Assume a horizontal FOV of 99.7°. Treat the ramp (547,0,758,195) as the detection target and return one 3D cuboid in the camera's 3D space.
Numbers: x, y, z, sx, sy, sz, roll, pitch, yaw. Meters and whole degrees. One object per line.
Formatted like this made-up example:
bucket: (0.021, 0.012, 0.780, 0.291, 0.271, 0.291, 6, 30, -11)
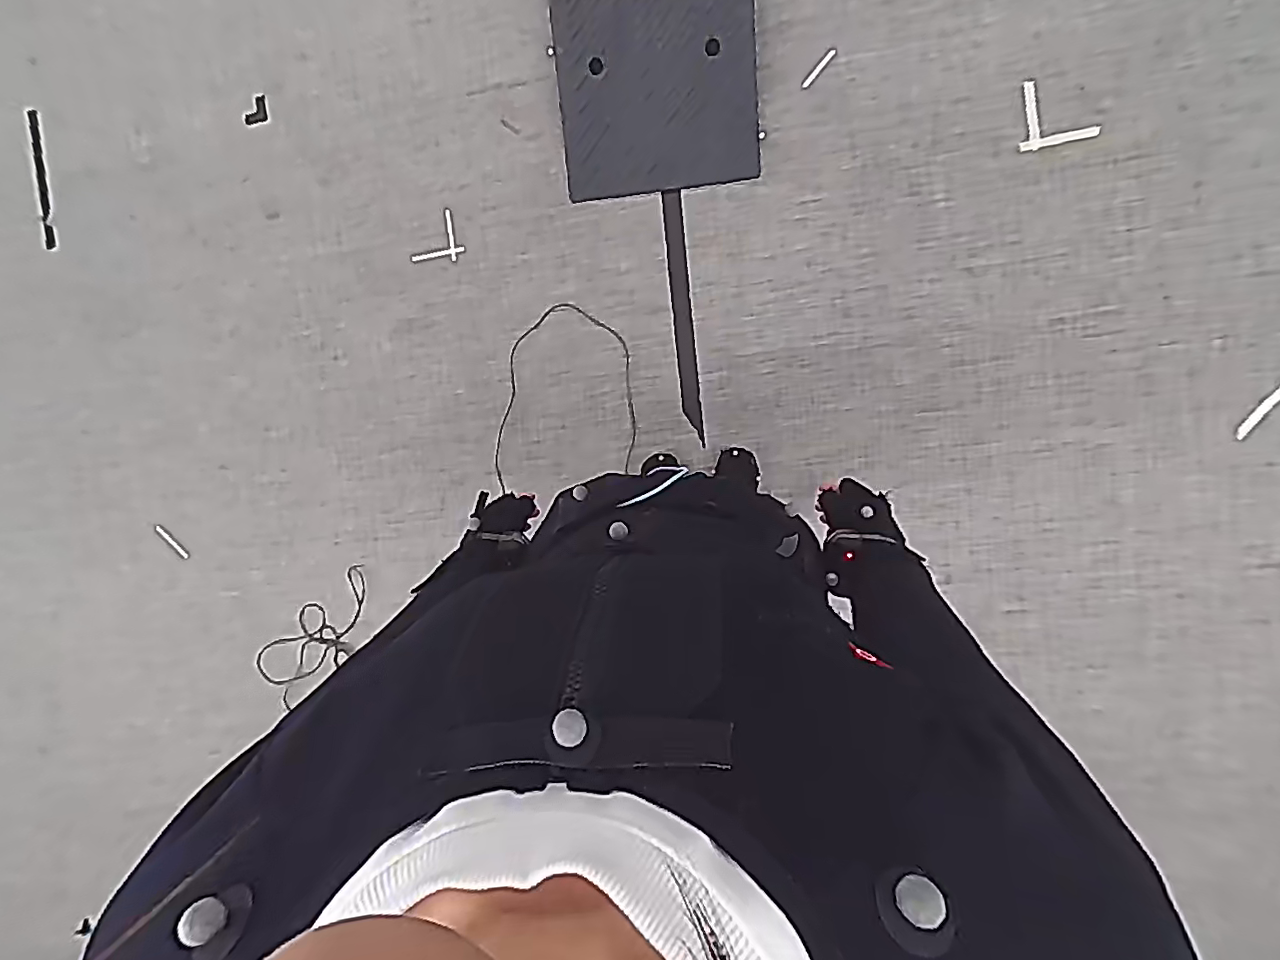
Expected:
ramp: (0.011, -1.239, 1.259, 0.509, 0.206, 0.991, -5, 94, 7)
